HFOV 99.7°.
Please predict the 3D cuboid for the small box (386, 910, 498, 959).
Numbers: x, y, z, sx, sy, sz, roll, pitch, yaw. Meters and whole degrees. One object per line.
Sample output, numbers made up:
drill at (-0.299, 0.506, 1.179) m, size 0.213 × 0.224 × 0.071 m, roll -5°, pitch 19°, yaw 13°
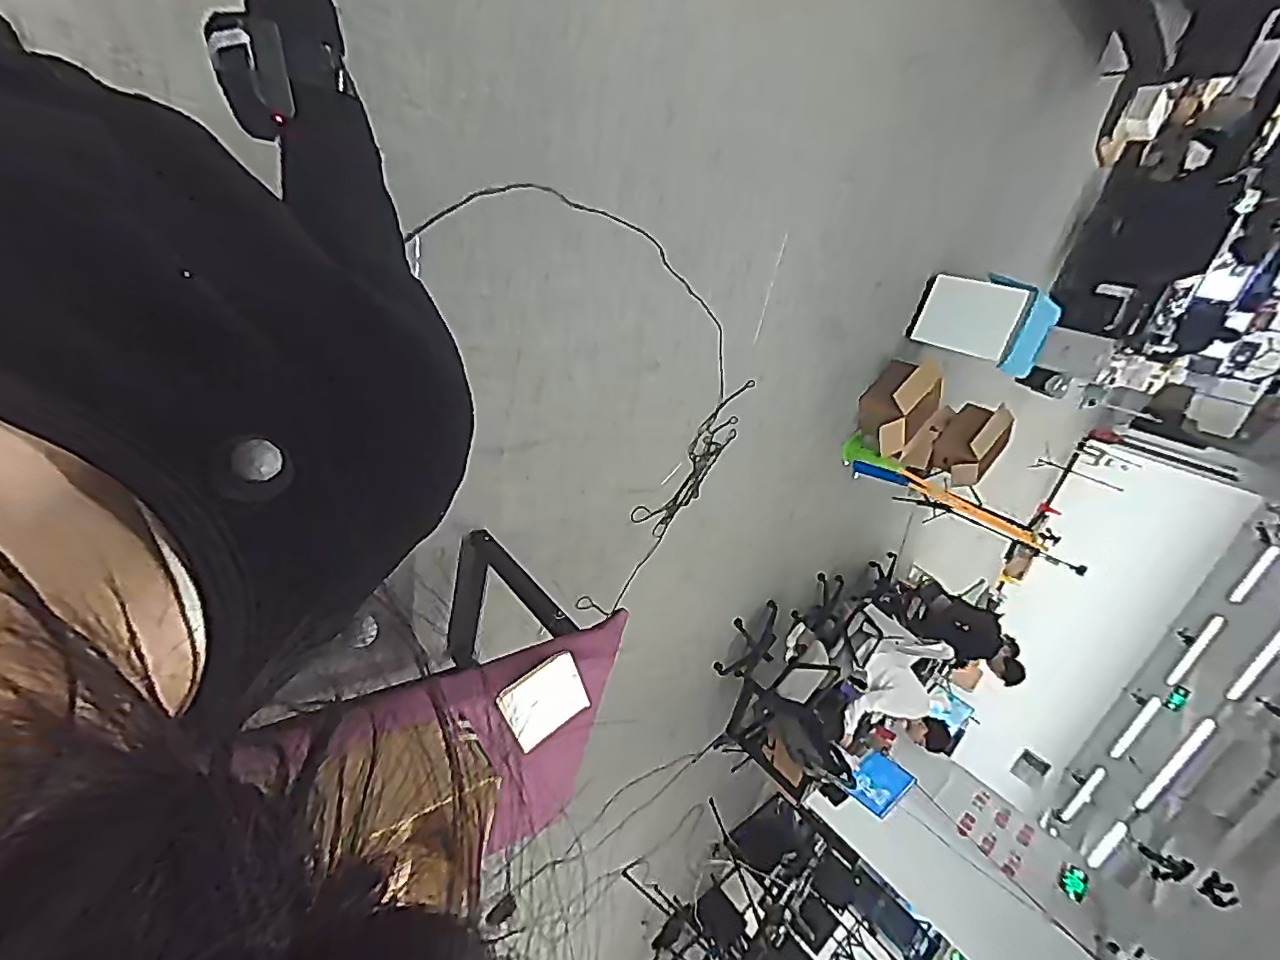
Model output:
small box at (-0.377, 0.964, 1.013) m, size 0.168 × 0.176 × 0.179 m, roll -3°, pitch 115°, yaw -45°
